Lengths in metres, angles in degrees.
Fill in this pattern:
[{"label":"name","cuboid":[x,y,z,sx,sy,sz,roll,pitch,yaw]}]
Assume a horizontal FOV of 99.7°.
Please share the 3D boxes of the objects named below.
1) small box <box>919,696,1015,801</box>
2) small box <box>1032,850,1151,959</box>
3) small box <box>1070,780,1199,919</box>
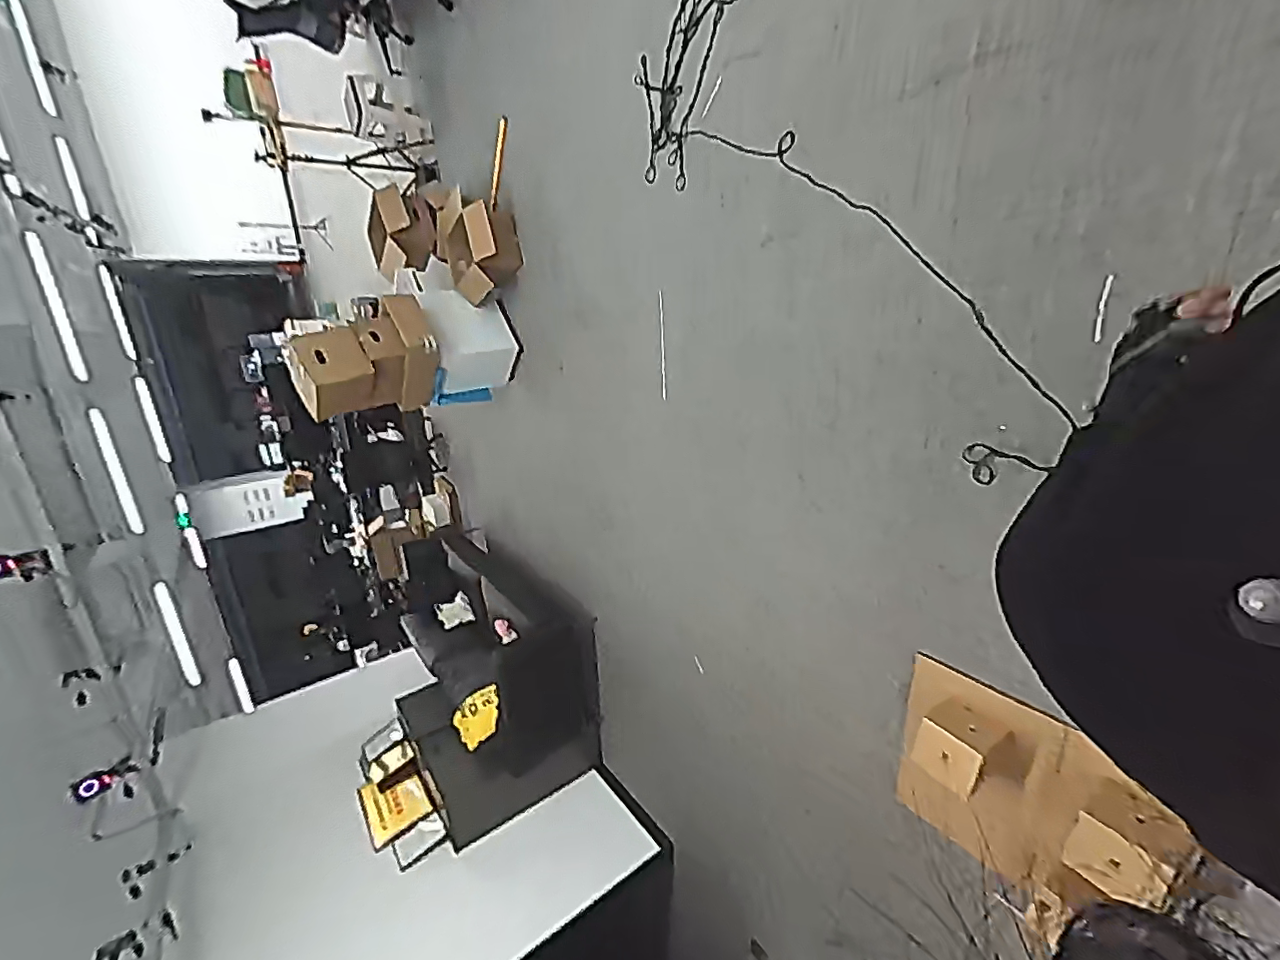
[{"label":"small box","cuboid":[0.938,0.758,1.549,0.168,0.176,0.179,27,125,49]},{"label":"small box","cuboid":[1.154,1.105,1.378,0.179,0.176,0.168,30,127,47]},{"label":"small box","cuboid":[1.159,0.852,1.265,0.168,0.176,0.179,29,126,48]}]
